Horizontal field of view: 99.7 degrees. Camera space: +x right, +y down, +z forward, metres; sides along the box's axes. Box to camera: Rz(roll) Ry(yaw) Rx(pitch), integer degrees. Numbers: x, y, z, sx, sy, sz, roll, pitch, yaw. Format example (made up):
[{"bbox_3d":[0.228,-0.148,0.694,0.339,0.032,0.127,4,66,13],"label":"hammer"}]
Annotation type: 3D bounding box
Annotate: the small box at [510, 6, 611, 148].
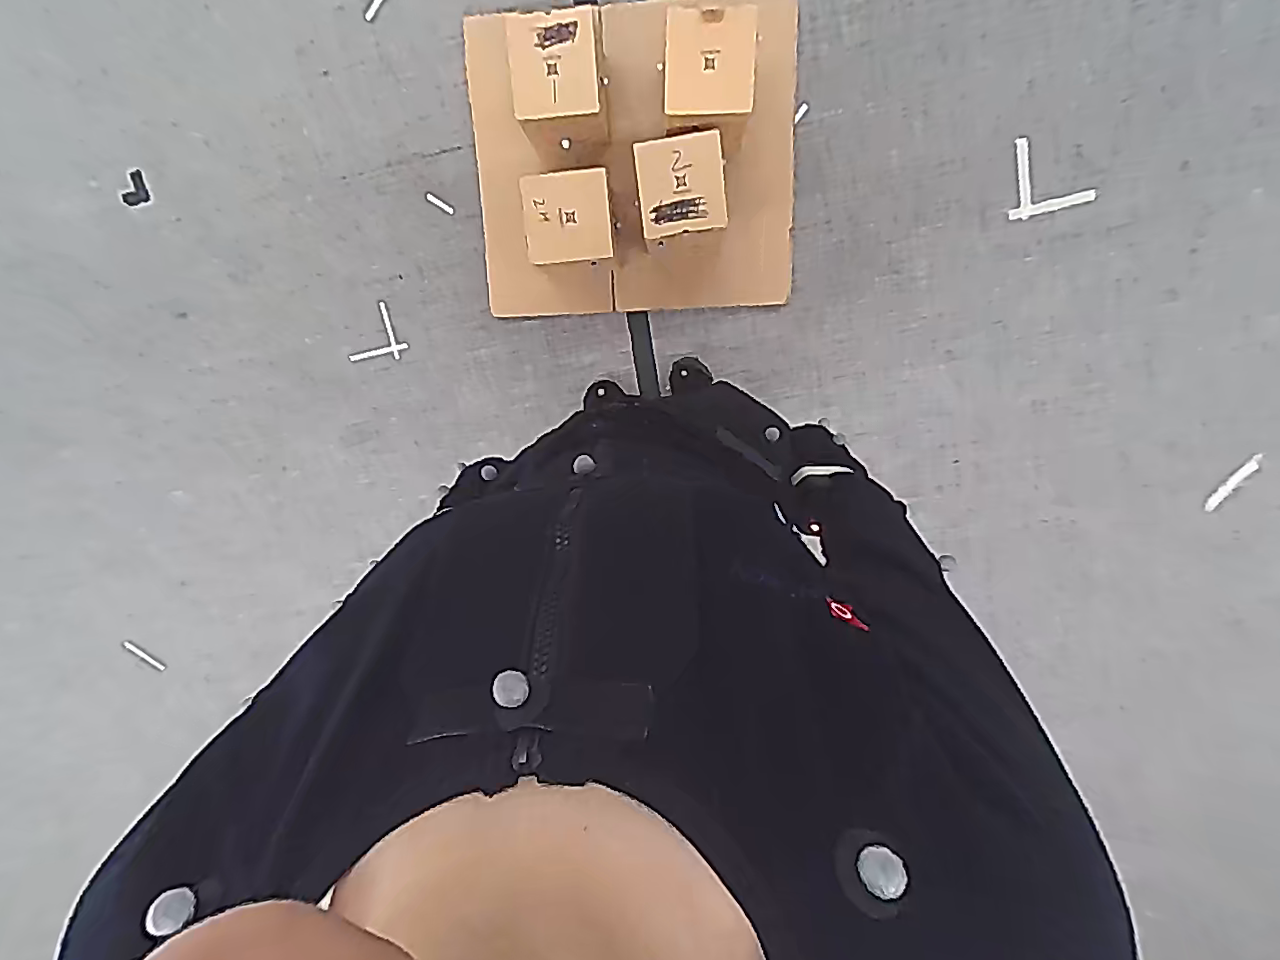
[{"bbox_3d":[-0.153,-0.800,1.091,0.168,0.176,0.179,-3,105,4],"label":"small box"}]
